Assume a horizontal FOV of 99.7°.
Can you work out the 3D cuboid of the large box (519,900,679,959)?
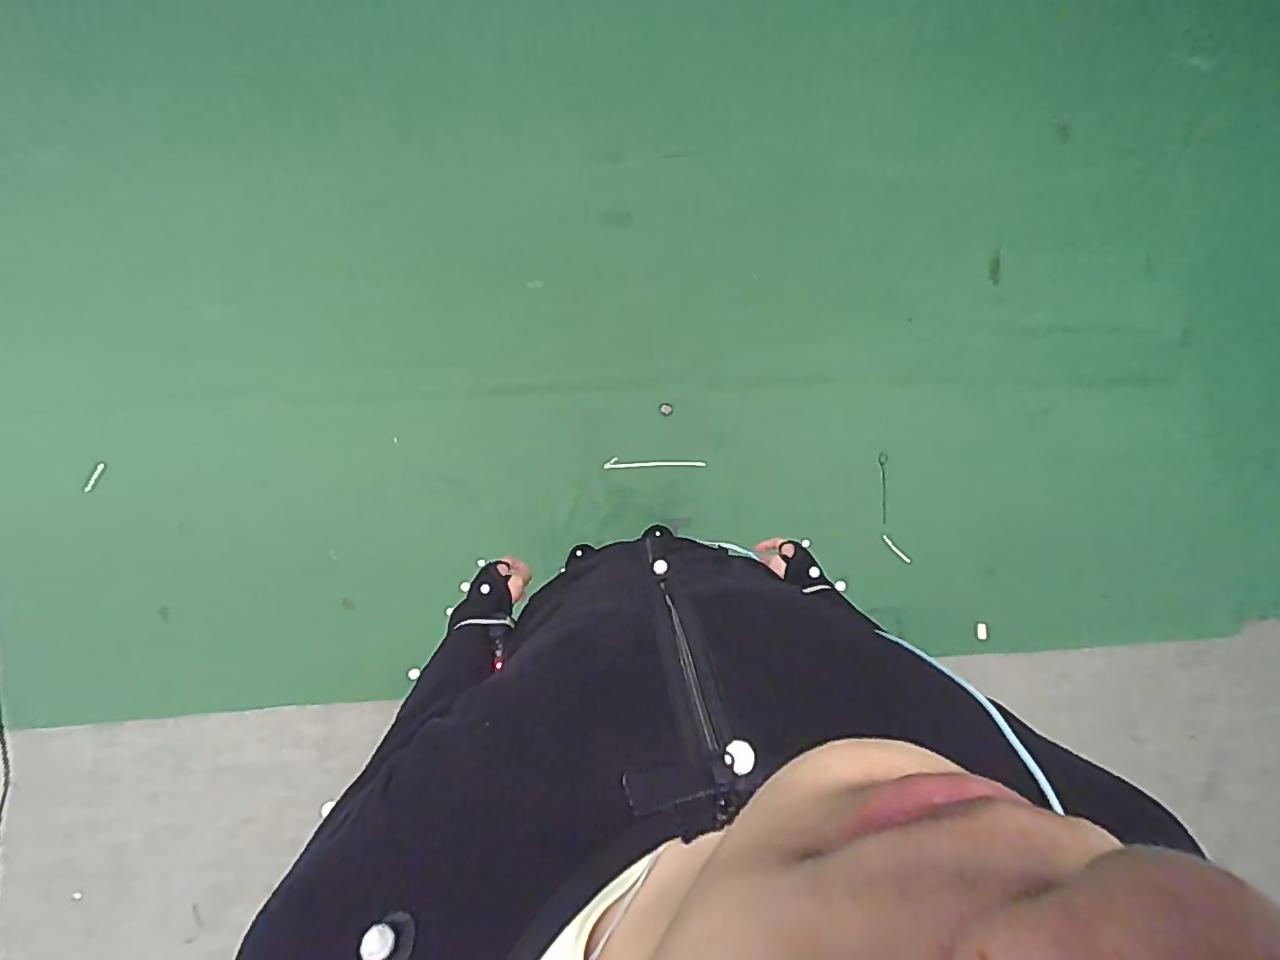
[{"bbox_3d":[-0.096,1.349,1.368,0.408,0.320,0.320,-4,84,-6],"label":"large box"}]
